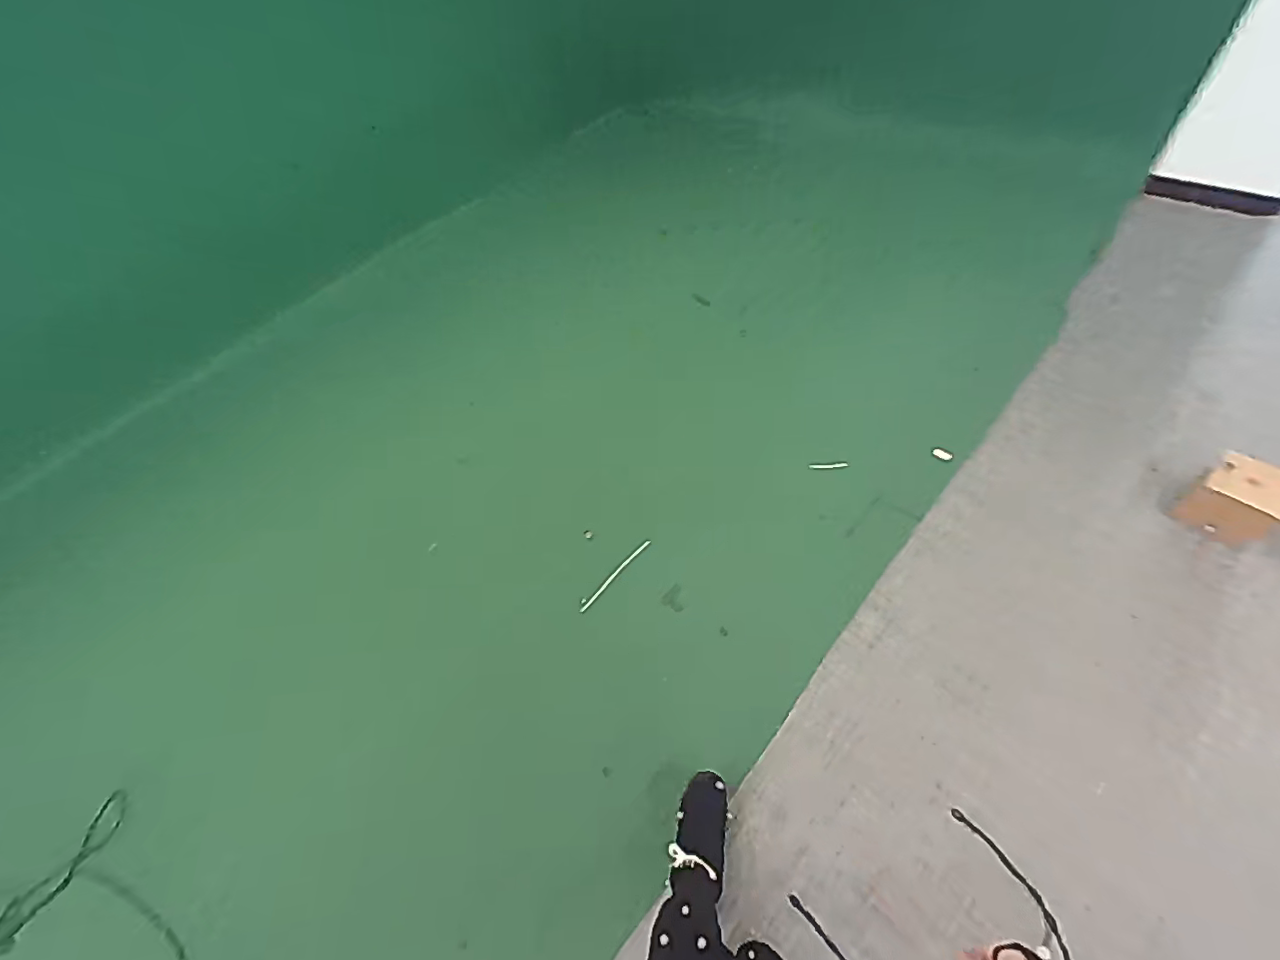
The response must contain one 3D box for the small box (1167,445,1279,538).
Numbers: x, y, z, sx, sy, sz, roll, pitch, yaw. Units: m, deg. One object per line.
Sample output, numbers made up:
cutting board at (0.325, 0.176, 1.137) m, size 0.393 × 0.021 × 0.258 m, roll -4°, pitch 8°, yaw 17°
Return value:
small box at (1.662, 0.040, 1.520) m, size 0.179 × 0.176 × 0.168 m, roll 37°, pitch 69°, yaw 29°
